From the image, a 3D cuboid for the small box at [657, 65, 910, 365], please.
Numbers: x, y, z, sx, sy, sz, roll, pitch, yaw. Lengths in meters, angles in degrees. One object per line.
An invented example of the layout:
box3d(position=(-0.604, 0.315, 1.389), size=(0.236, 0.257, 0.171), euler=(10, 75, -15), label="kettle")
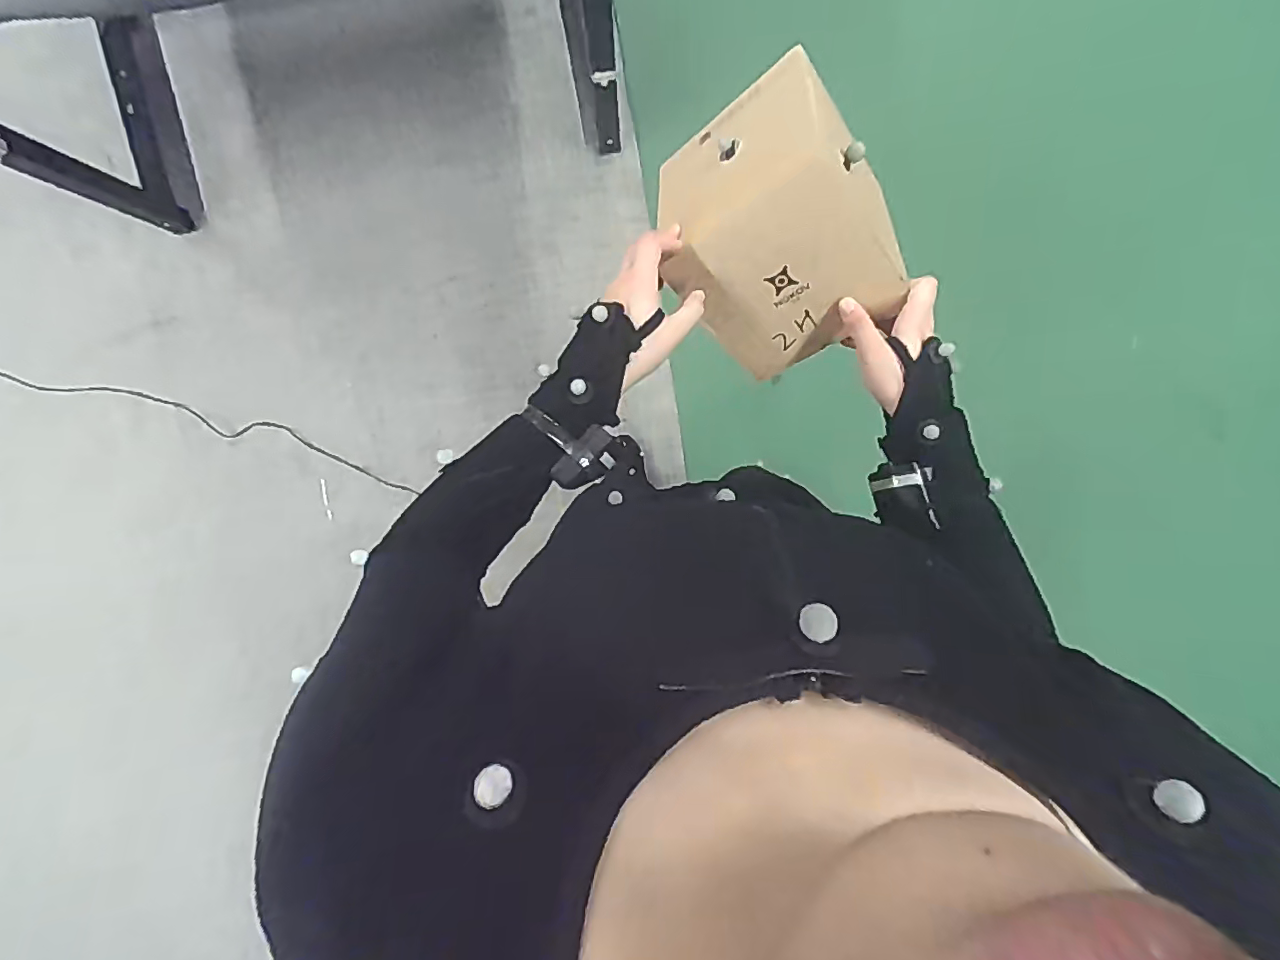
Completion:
box3d(position=(0.133, -0.253, 0.526), size=(0.179, 0.168, 0.176), euler=(29, 52, -38), label="small box")
